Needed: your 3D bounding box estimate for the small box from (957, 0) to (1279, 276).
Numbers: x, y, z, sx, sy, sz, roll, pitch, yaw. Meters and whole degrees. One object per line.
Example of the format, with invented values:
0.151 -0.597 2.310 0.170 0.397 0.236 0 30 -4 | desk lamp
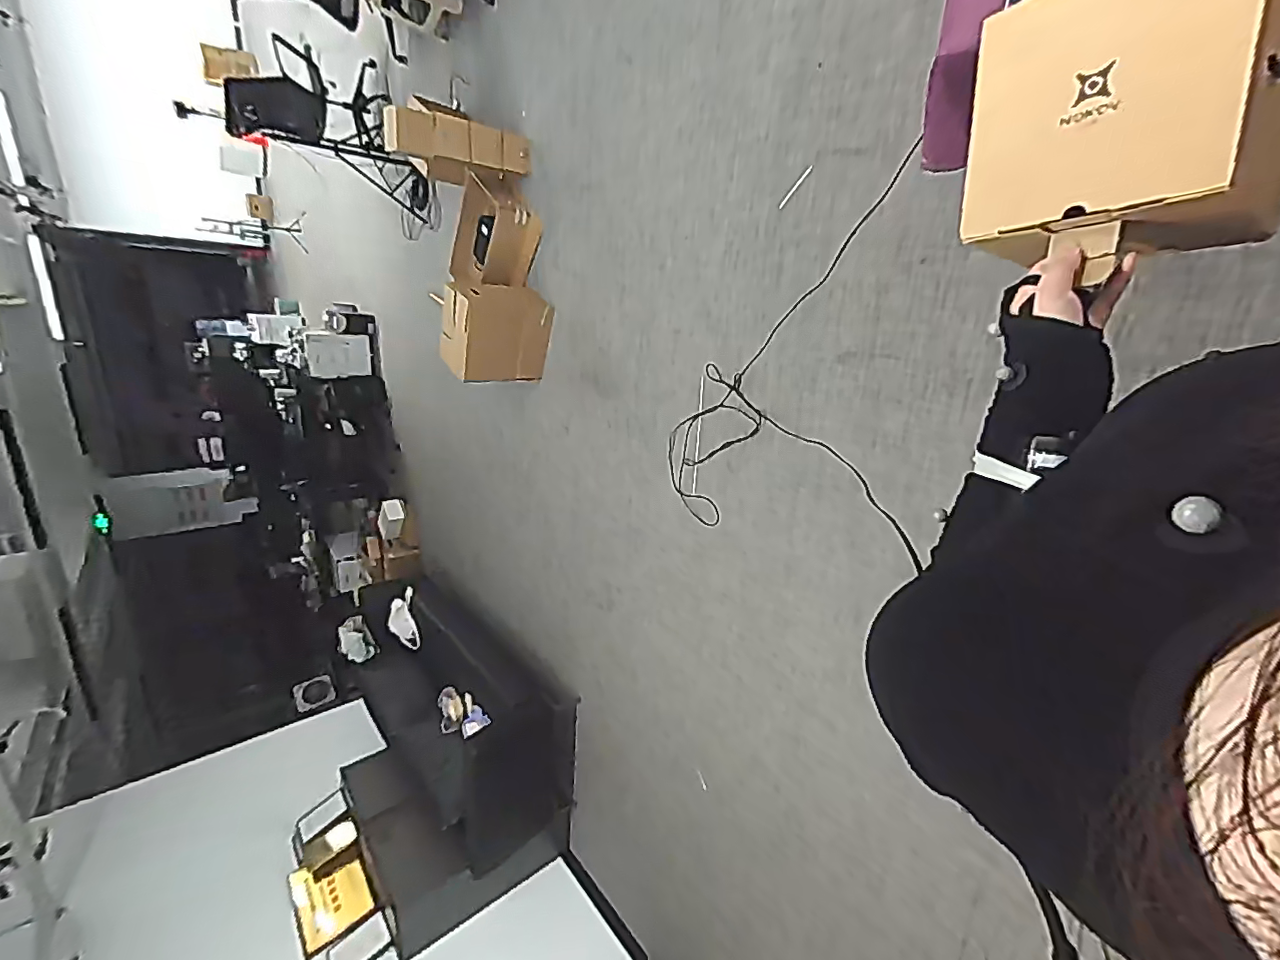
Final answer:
0.394 -0.279 0.443 0.168 0.176 0.179 15 106 53 | small box
